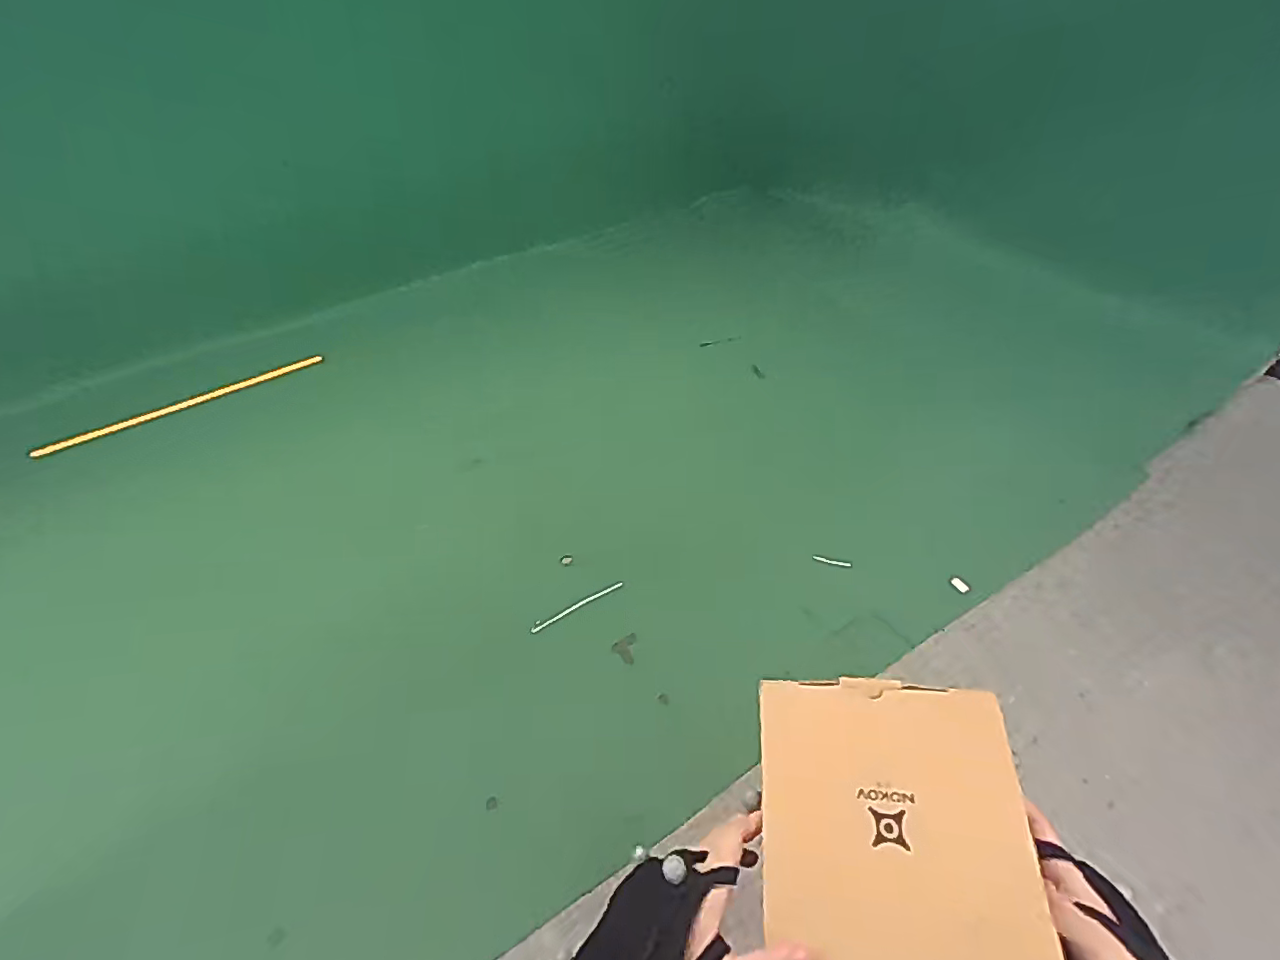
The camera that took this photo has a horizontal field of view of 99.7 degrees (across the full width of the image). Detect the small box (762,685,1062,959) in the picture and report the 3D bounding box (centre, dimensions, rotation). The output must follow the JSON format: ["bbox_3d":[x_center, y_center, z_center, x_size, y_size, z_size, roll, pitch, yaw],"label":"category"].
[{"bbox_3d":[0.186,0.275,0.420,0.168,0.176,0.179,-4,52,15],"label":"small box"}]
